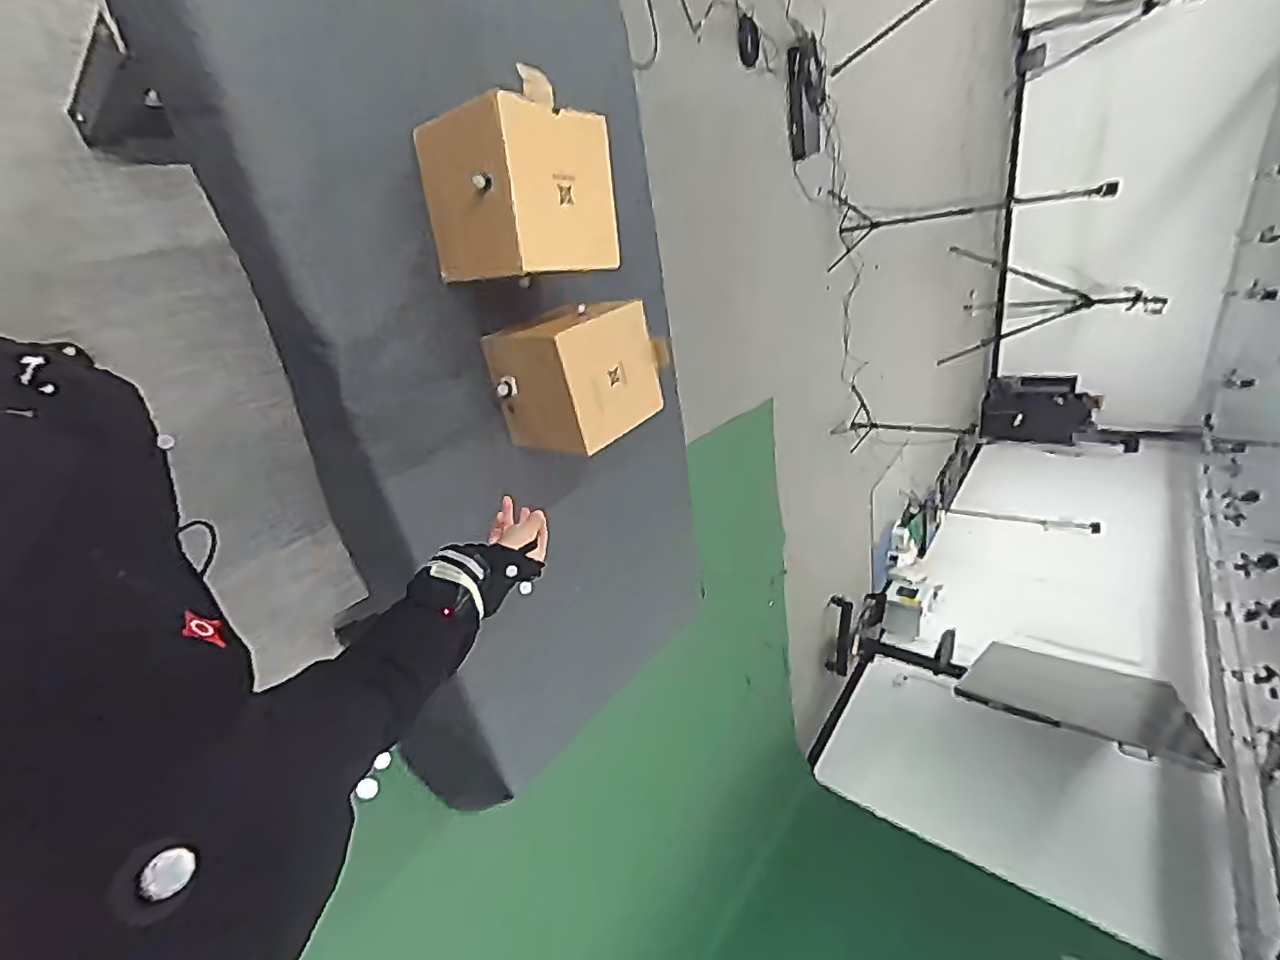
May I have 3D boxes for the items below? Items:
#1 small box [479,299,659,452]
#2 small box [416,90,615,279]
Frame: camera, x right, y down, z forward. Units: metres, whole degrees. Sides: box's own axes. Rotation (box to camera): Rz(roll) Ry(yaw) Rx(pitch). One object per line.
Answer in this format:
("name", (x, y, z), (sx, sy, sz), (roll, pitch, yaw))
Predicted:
("small box", (-0.101, -0.158, 0.797), (0.179, 0.176, 0.168), (-40, 125, -39))
("small box", (-0.154, -0.353, 0.686), (0.168, 0.176, 0.179), (-27, 118, -46))
